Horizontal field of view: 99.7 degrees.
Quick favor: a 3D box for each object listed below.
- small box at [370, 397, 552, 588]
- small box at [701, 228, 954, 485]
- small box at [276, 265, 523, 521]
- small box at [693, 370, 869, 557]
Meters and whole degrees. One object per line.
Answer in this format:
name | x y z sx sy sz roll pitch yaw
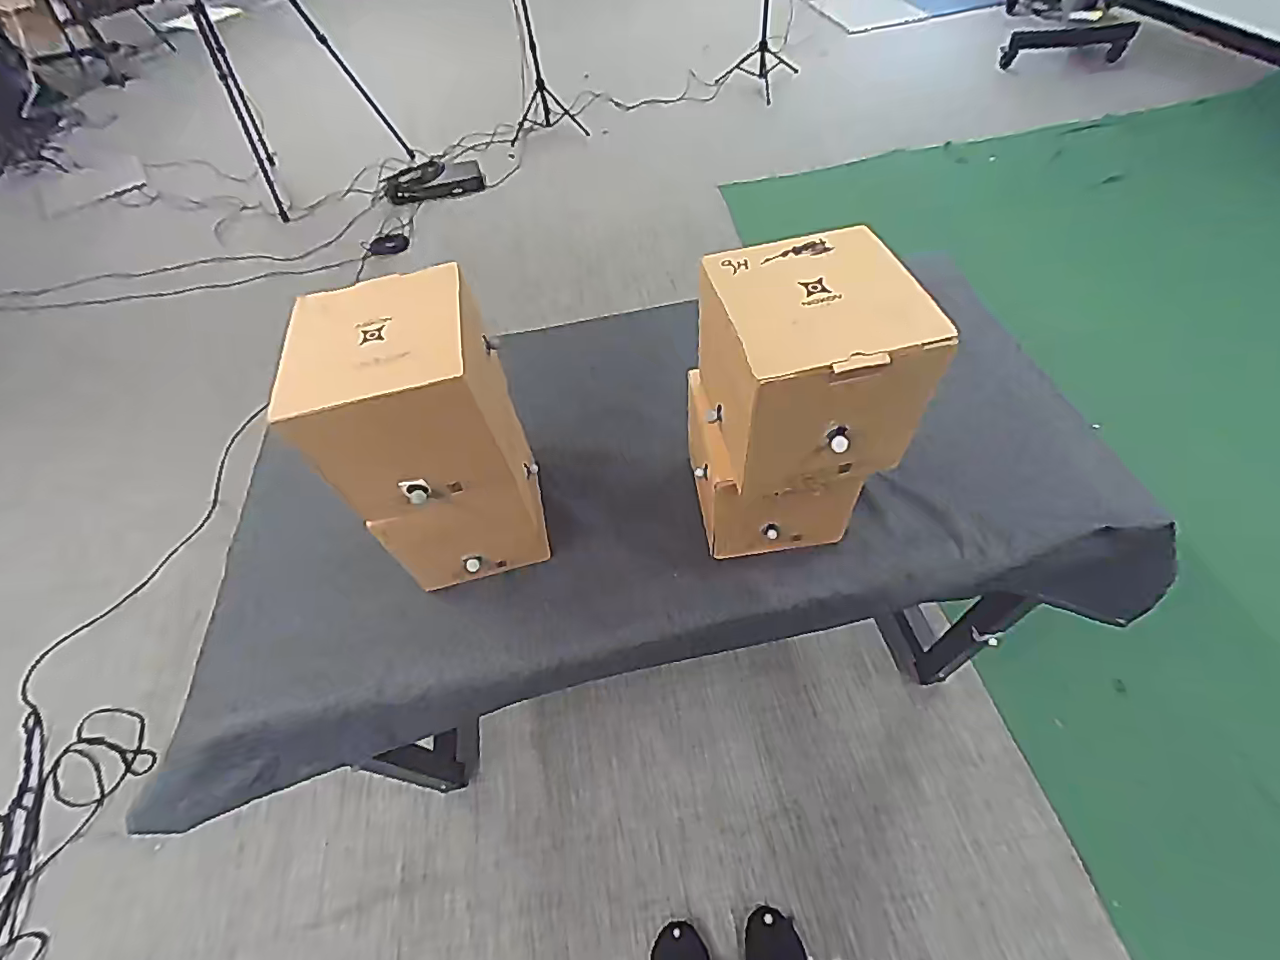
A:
small box | -0.219 0.011 0.689 0.168 0.176 0.179 -14 54 -4
small box | 0.161 -0.111 0.533 0.168 0.176 0.179 -12 54 -2
small box | -0.229 -0.086 0.559 0.168 0.176 0.179 -15 55 -3
small box | 0.159 -0.028 0.675 0.168 0.176 0.179 -9 53 0
